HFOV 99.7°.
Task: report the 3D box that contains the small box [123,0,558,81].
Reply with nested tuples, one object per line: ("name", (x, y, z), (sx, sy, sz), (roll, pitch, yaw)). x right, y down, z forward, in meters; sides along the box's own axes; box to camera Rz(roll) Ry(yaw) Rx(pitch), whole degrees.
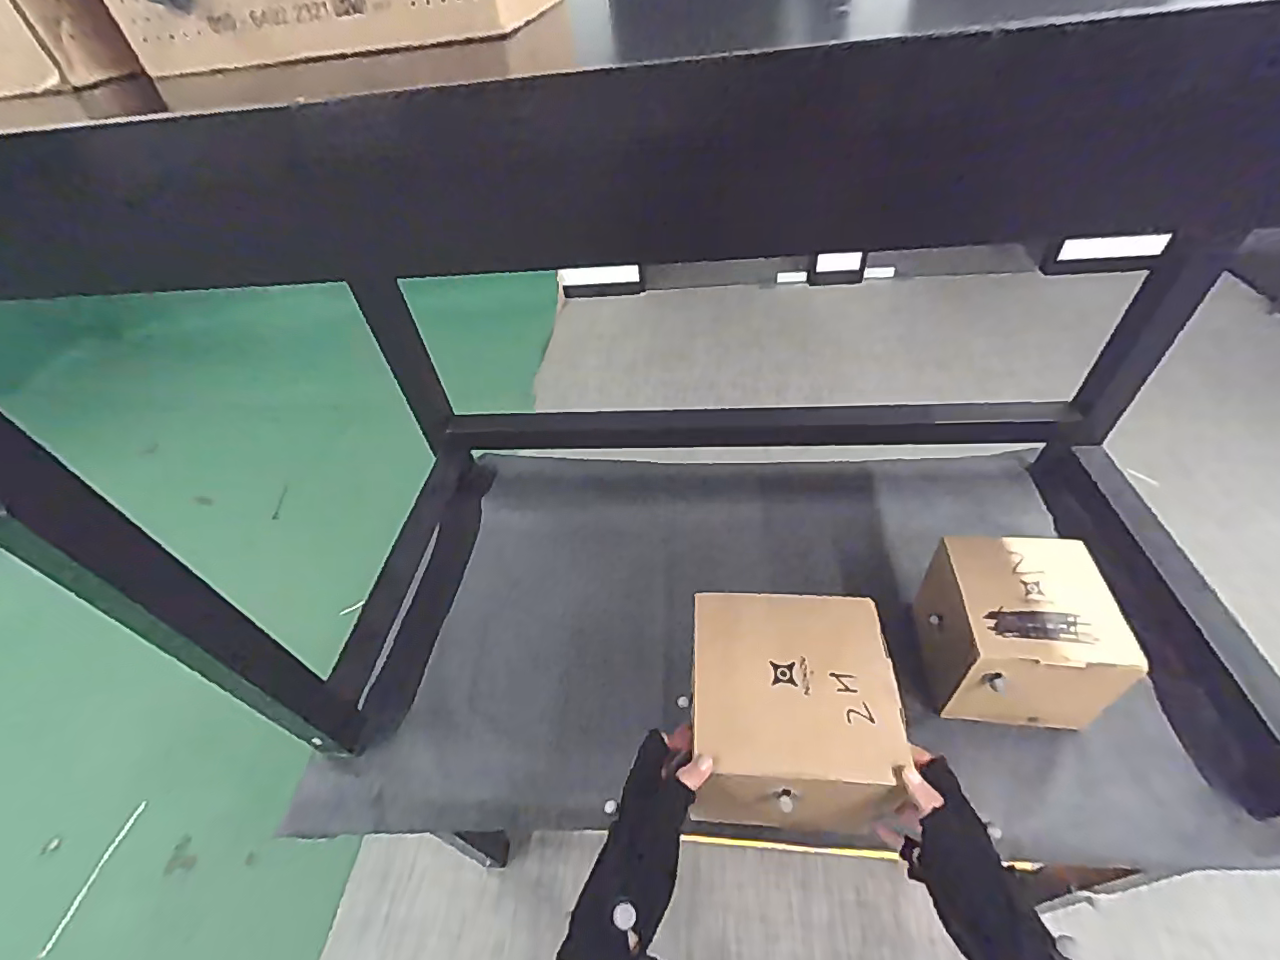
("small box", (-0.141, -0.293, 0.238), (0.168, 0.176, 0.179), (-1, 45, 7))

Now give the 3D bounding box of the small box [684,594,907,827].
("small box", (0.136, 0.230, 0.539), (0.179, 0.176, 0.168), (1, 47, 6))
